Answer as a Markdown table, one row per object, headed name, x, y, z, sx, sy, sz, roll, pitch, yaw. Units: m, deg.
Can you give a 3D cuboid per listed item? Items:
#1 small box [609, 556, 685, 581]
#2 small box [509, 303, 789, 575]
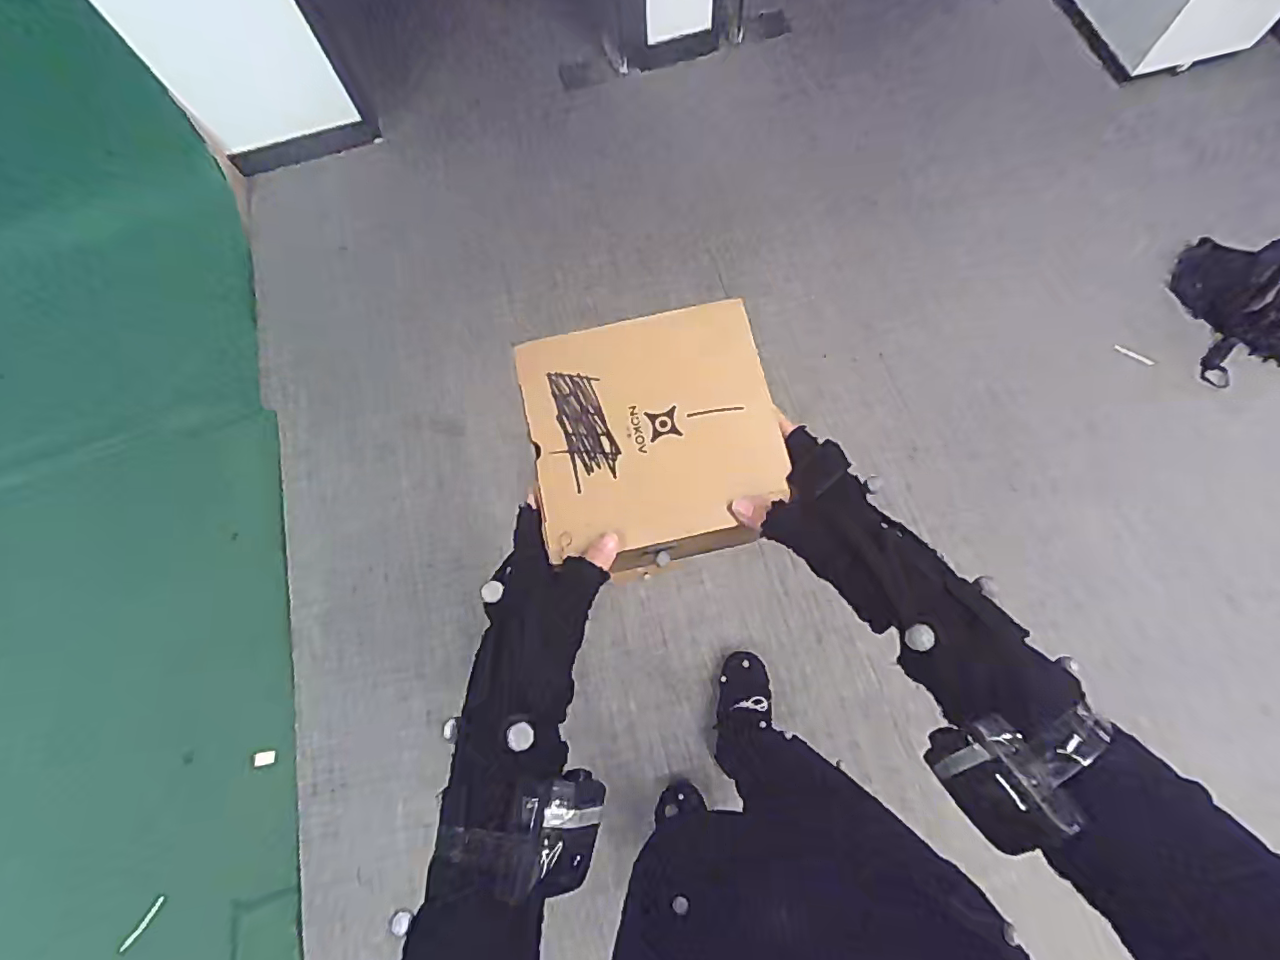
| name | x | y | z | sx | sy | sz | roll | pitch | yaw |
| --- | --- | --- | --- | --- | --- | --- | --- | --- | --- |
| small box | 0.005 | 0.135 | 1.284 | 0.179 | 0.176 | 0.168 | -13 | 71 | 0 |
| small box | 0.006 | -0.019 | 0.460 | 0.179 | 0.176 | 0.168 | -12 | 77 | -1 |
